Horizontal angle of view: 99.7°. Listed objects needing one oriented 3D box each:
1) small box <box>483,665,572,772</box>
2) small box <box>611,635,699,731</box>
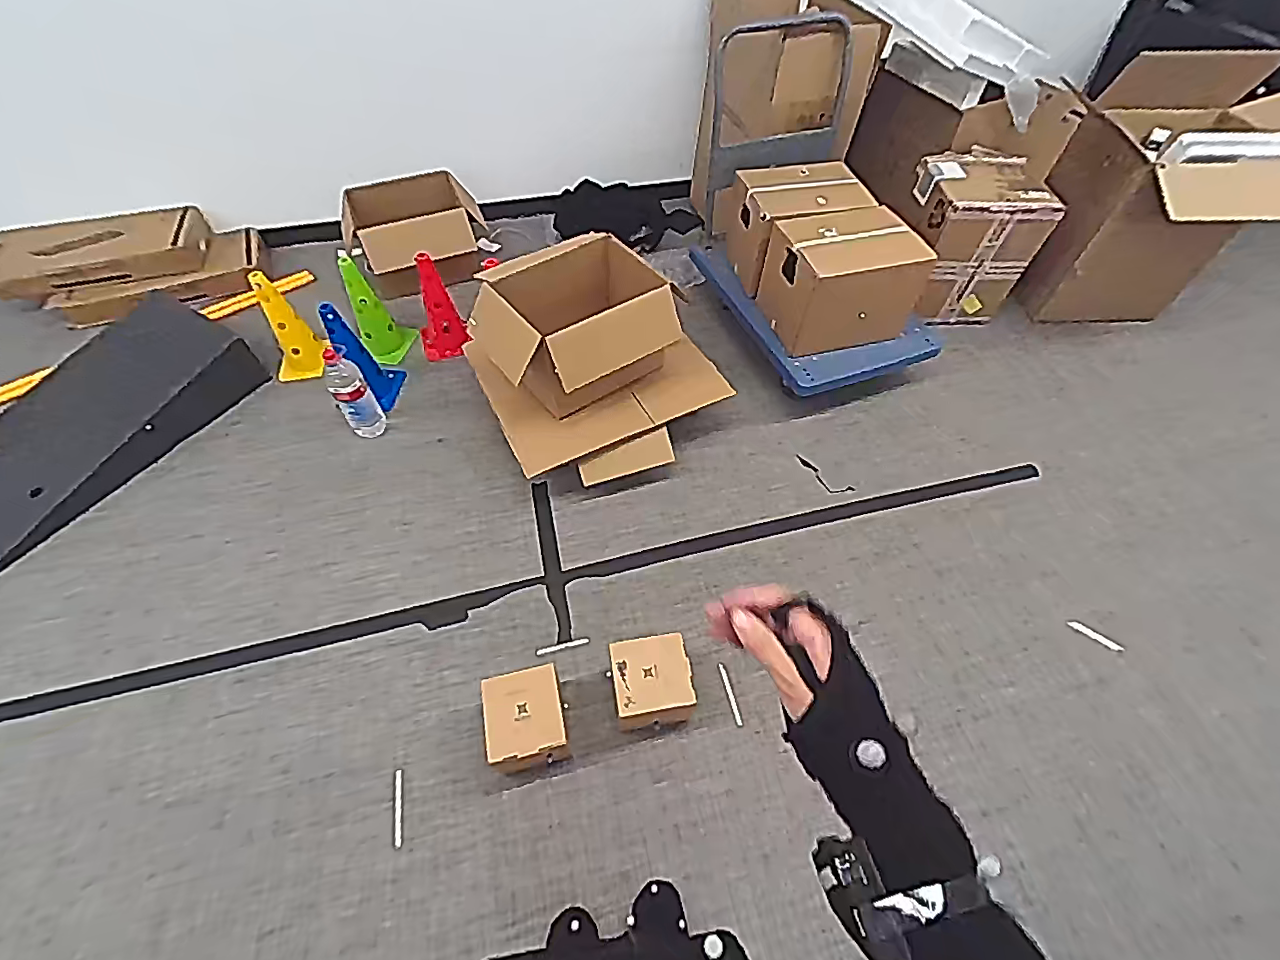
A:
[{"bbox_3d":[-0.252,0.548,1.228,0.168,0.176,0.179,-11,55,-11],"label":"small box"},{"bbox_3d":[0.028,0.484,1.281,0.179,0.176,0.168,-7,56,-7],"label":"small box"}]
